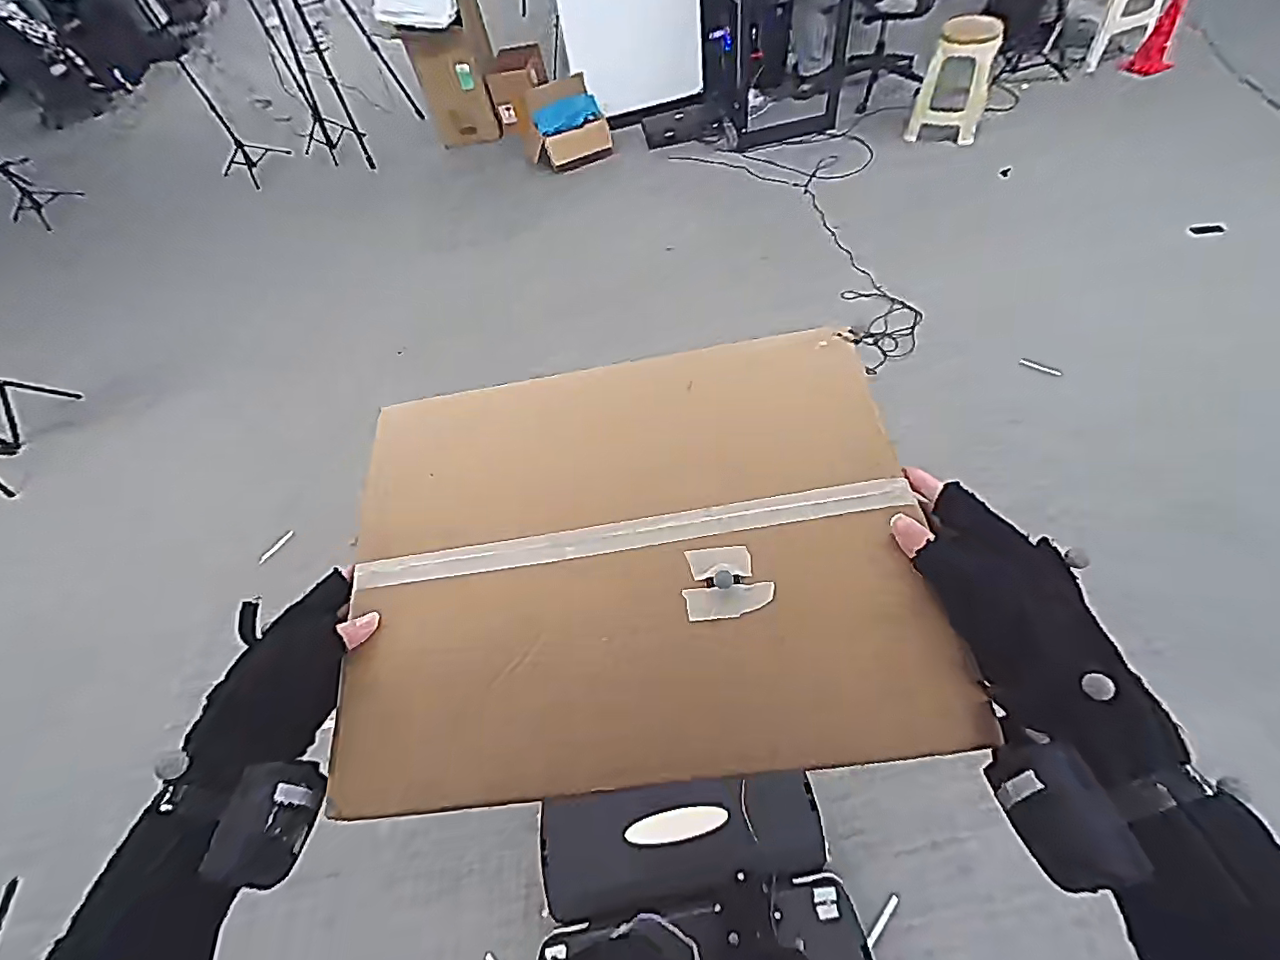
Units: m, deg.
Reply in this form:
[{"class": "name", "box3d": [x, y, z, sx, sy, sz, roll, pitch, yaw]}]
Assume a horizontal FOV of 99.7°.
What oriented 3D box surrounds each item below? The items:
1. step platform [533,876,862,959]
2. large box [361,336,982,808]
[{"class": "step platform", "box3d": [0.118, 1.054, 1.112, 0.684, 0.204, 0.286, -14, 54, 2]}, {"class": "large box", "box3d": [0.015, 0.111, 0.535, 0.408, 0.320, 0.320, -9, 63, 5]}]
